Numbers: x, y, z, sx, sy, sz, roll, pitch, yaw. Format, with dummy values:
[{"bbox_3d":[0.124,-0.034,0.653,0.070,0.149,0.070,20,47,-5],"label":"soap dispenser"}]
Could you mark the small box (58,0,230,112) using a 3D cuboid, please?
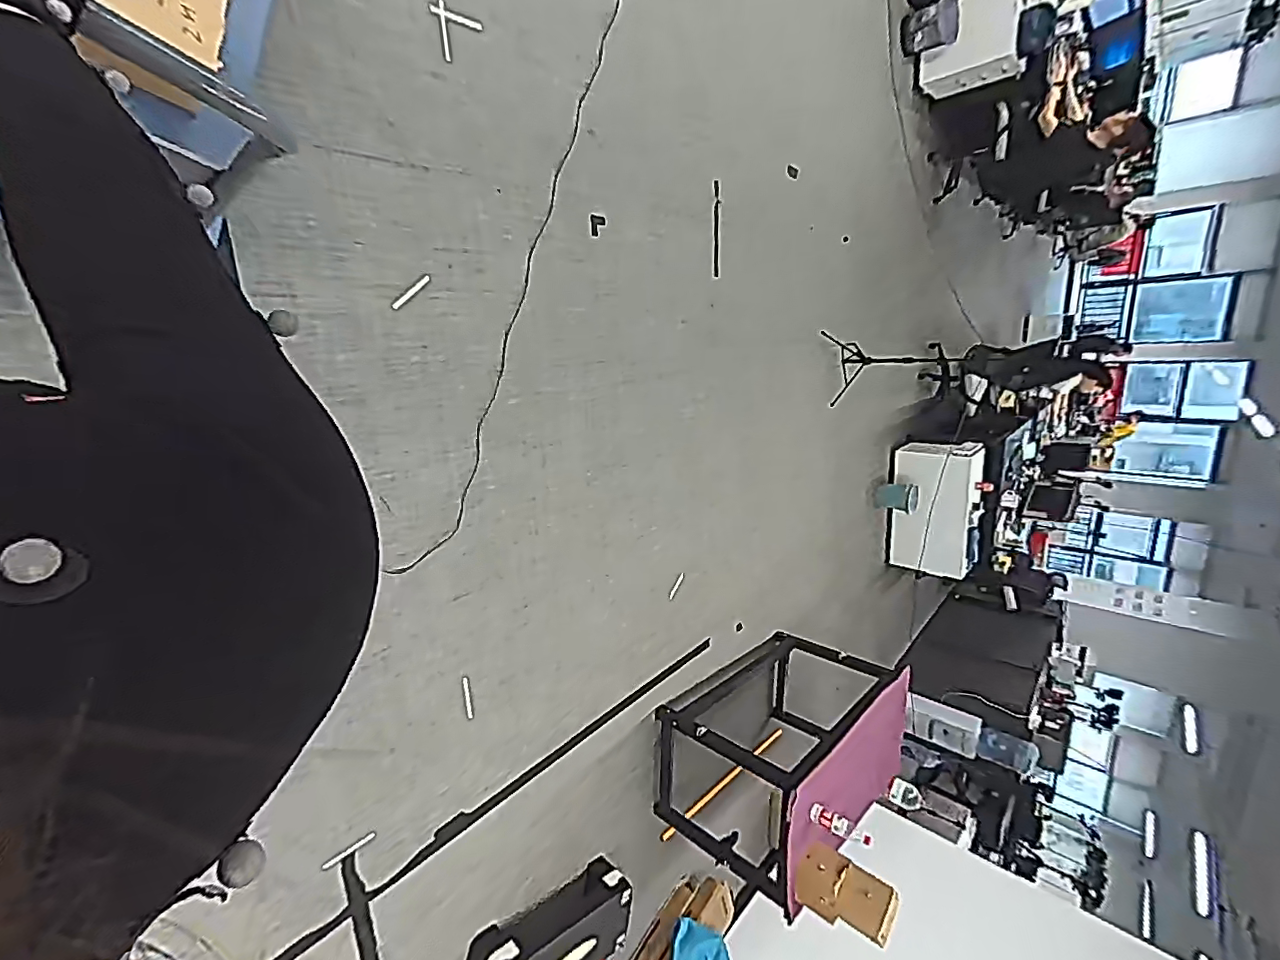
[{"bbox_3d":[-0.788,-0.734,0.862,0.179,0.176,0.168,10,90,-48],"label":"small box"}]
